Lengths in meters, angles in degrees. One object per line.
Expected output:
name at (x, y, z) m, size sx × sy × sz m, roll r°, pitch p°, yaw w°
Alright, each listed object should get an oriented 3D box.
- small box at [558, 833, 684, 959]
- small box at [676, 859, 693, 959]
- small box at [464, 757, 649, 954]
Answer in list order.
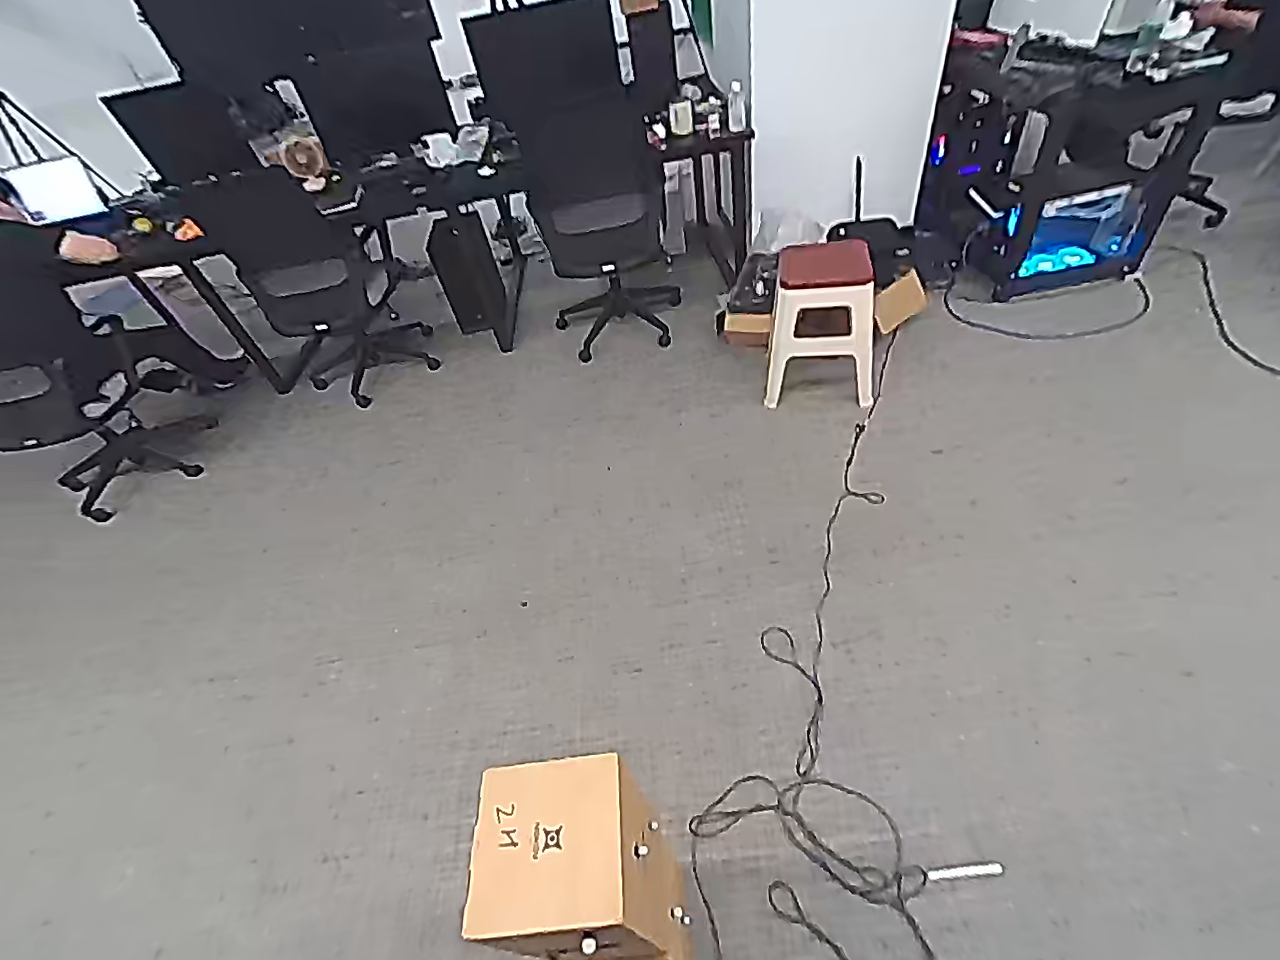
small box at (-0.026, 0.699, 0.886) m, size 0.179 × 0.176 × 0.168 m, roll -11°, pitch 45°, yaw 5°
small box at (0.002, 0.818, 0.992) m, size 0.168 × 0.176 × 0.179 m, roll -10°, pitch 45°, yaw 5°
small box at (-0.087, 0.462, 0.663) m, size 0.179 × 0.176 × 0.168 m, roll -10°, pitch 43°, yaw 6°
